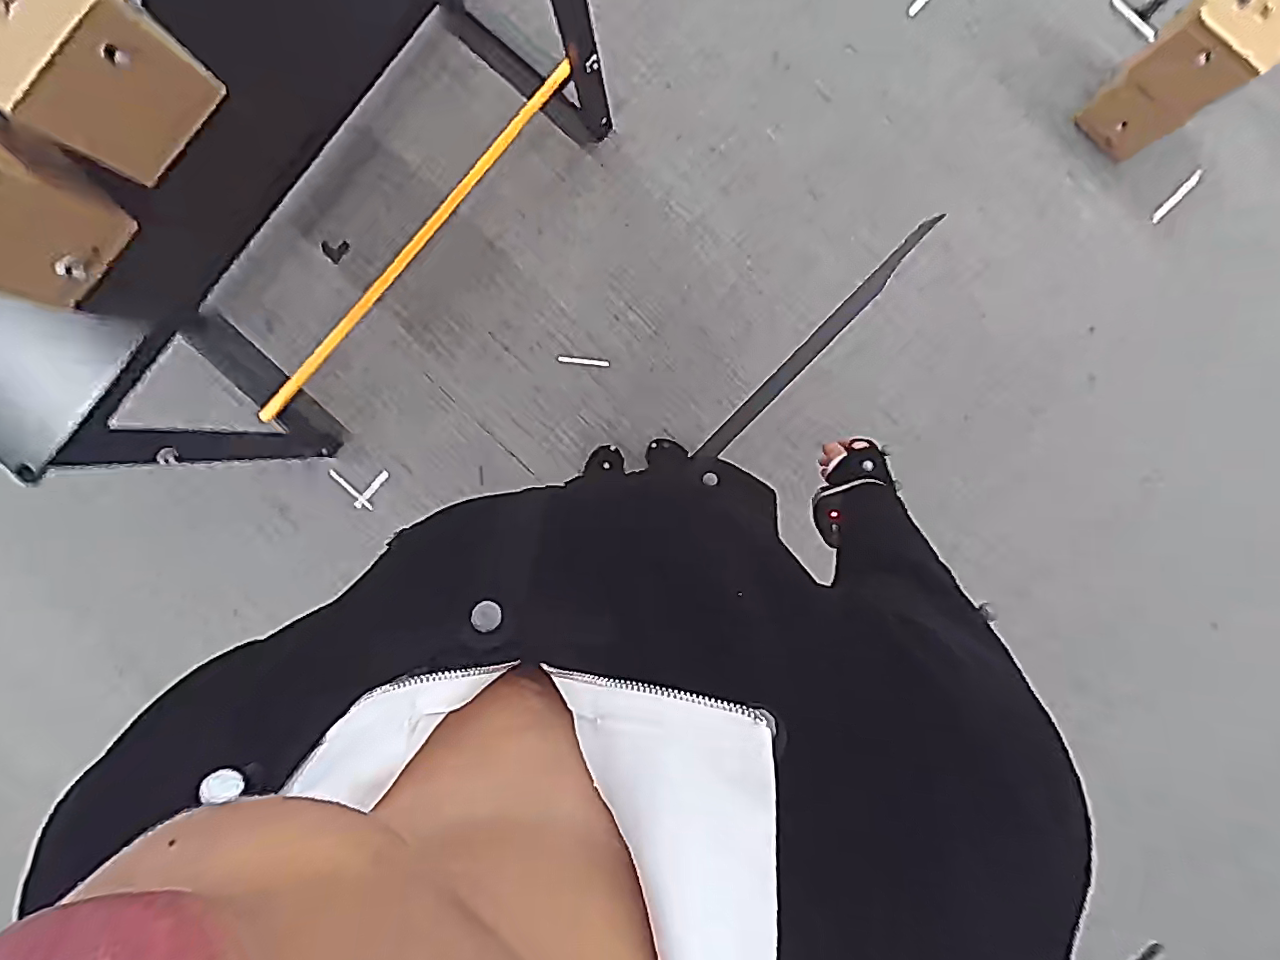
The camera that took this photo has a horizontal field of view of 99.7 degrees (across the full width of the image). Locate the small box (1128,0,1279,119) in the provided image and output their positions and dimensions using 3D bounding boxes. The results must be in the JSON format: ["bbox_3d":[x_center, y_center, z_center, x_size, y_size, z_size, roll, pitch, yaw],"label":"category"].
[{"bbox_3d":[1.170,-0.890,1.099,0.179,0.176,0.168,41,95,-1],"label":"small box"}]

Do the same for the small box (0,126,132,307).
[{"bbox_3d":[-0.829,-0.348,0.687,0.179,0.176,0.168,42,96,-1],"label":"small box"}]

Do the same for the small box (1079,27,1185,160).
[{"bbox_3d":[1.187,-0.900,1.264,0.168,0.176,0.179,41,96,0],"label":"small box"}]
